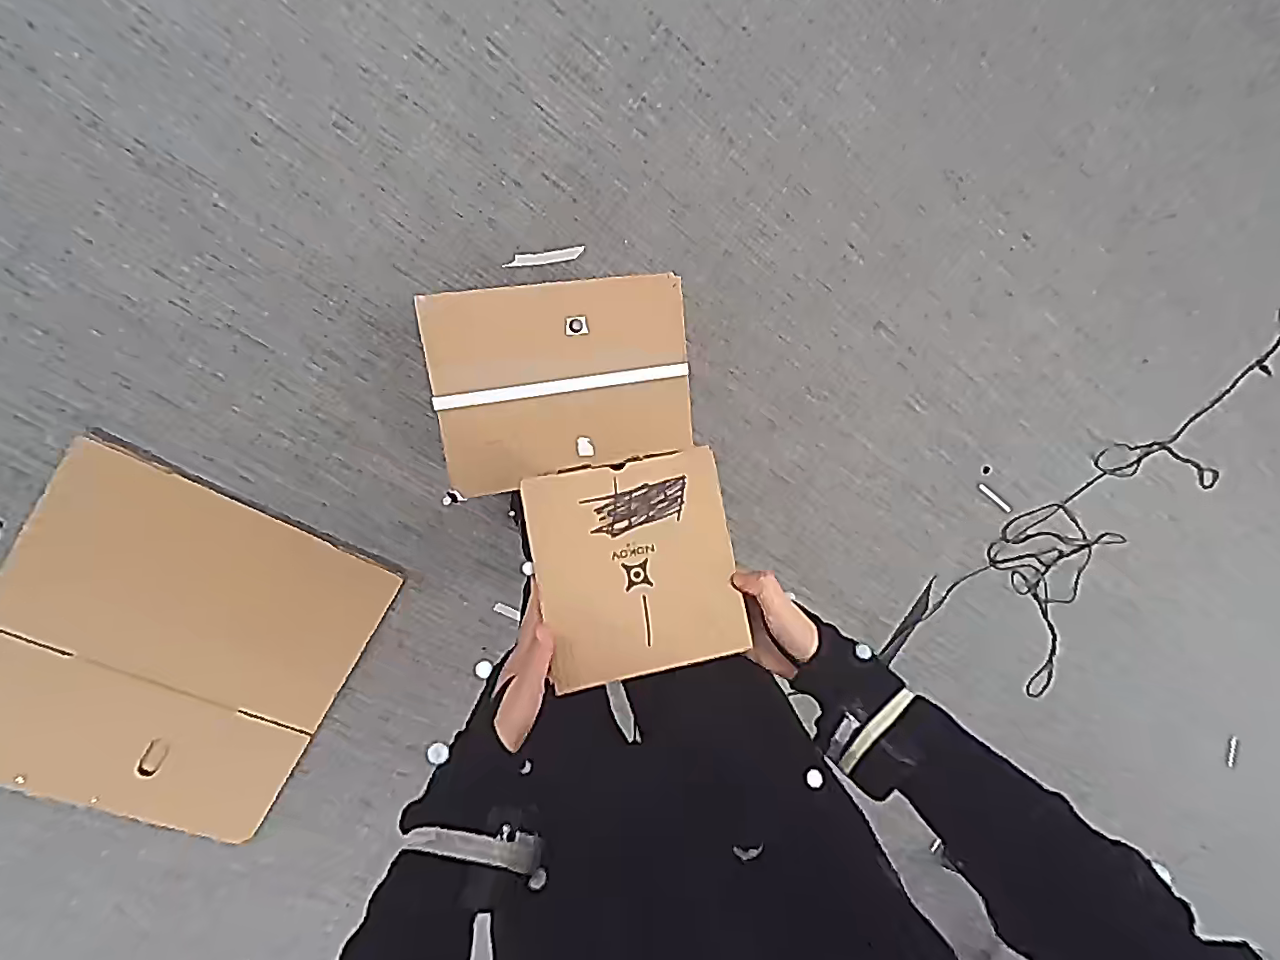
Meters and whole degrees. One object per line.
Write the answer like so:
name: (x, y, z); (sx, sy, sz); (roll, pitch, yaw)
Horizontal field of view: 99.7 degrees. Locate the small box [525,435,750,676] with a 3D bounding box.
small box: (-0.013, 0.069, 0.526); (0.168, 0.176, 0.179); (-11, 85, -8)
